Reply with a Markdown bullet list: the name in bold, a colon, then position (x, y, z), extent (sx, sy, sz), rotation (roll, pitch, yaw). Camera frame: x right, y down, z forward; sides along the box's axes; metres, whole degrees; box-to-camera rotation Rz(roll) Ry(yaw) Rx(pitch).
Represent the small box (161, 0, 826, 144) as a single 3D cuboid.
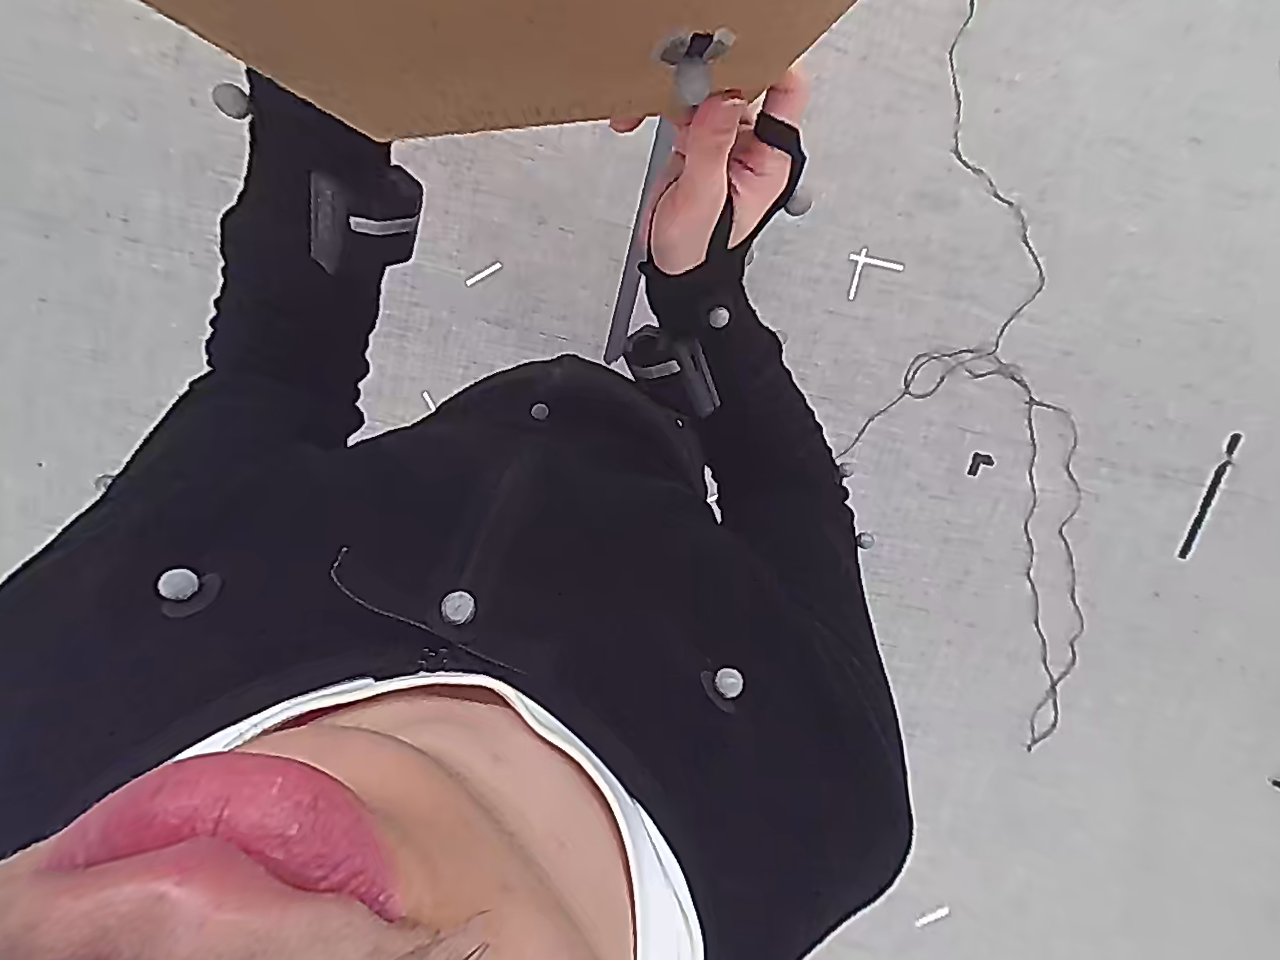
- **small box**: position (-0.037, -0.216, 0.157), extent (0.179, 0.176, 0.168), rotation (-8, 111, -2)
